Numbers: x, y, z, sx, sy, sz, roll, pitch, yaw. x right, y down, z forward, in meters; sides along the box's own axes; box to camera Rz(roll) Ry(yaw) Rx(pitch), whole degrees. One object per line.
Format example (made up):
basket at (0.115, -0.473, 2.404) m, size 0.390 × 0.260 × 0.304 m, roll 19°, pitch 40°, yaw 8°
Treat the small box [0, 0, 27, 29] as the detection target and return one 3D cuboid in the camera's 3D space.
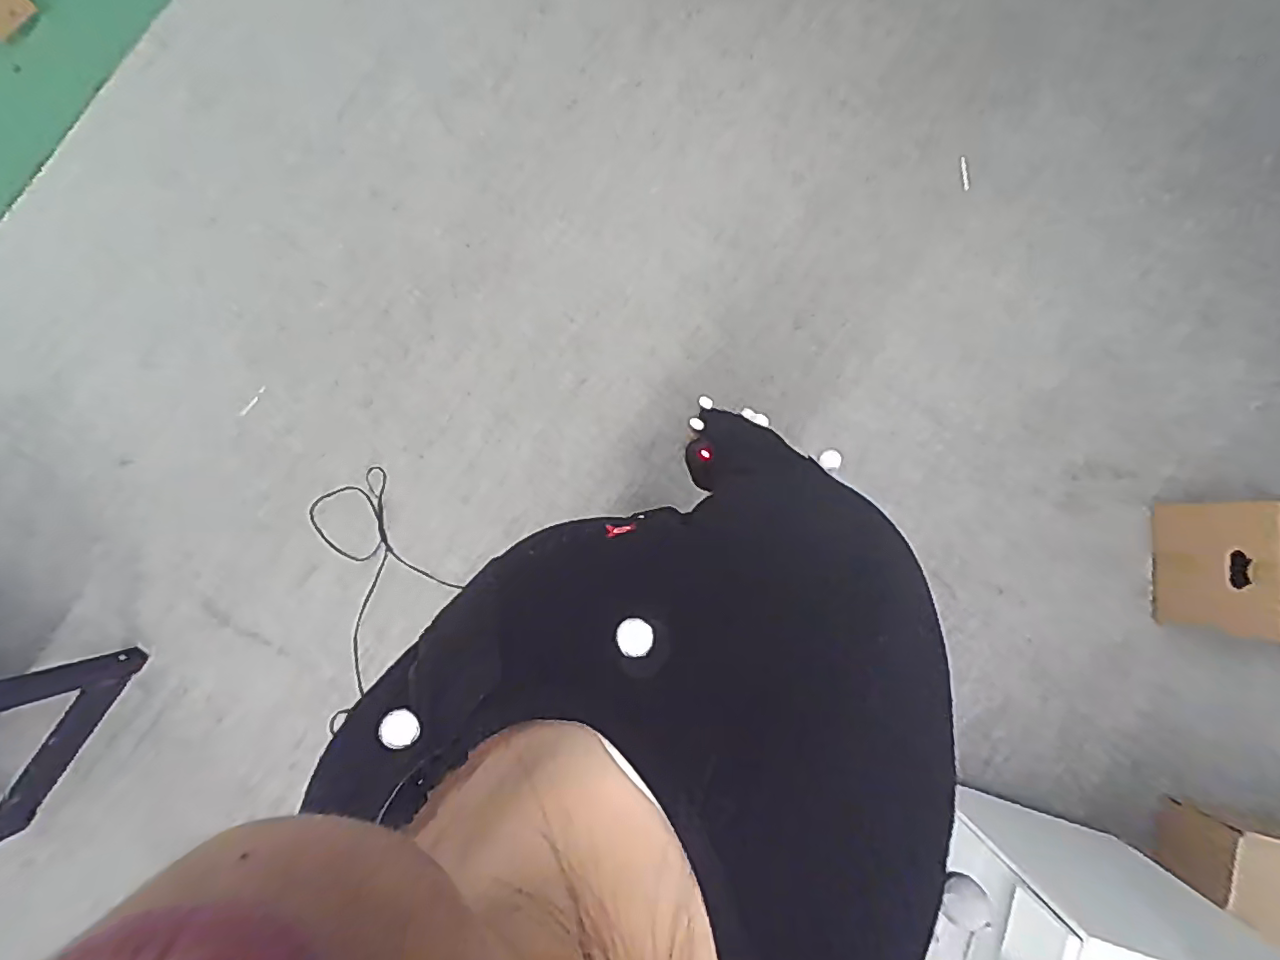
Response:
small box at (-1.994, -1.469, 1.587) m, size 0.179 × 0.176 × 0.168 m, roll 43°, pitch 88°, yaw 4°
